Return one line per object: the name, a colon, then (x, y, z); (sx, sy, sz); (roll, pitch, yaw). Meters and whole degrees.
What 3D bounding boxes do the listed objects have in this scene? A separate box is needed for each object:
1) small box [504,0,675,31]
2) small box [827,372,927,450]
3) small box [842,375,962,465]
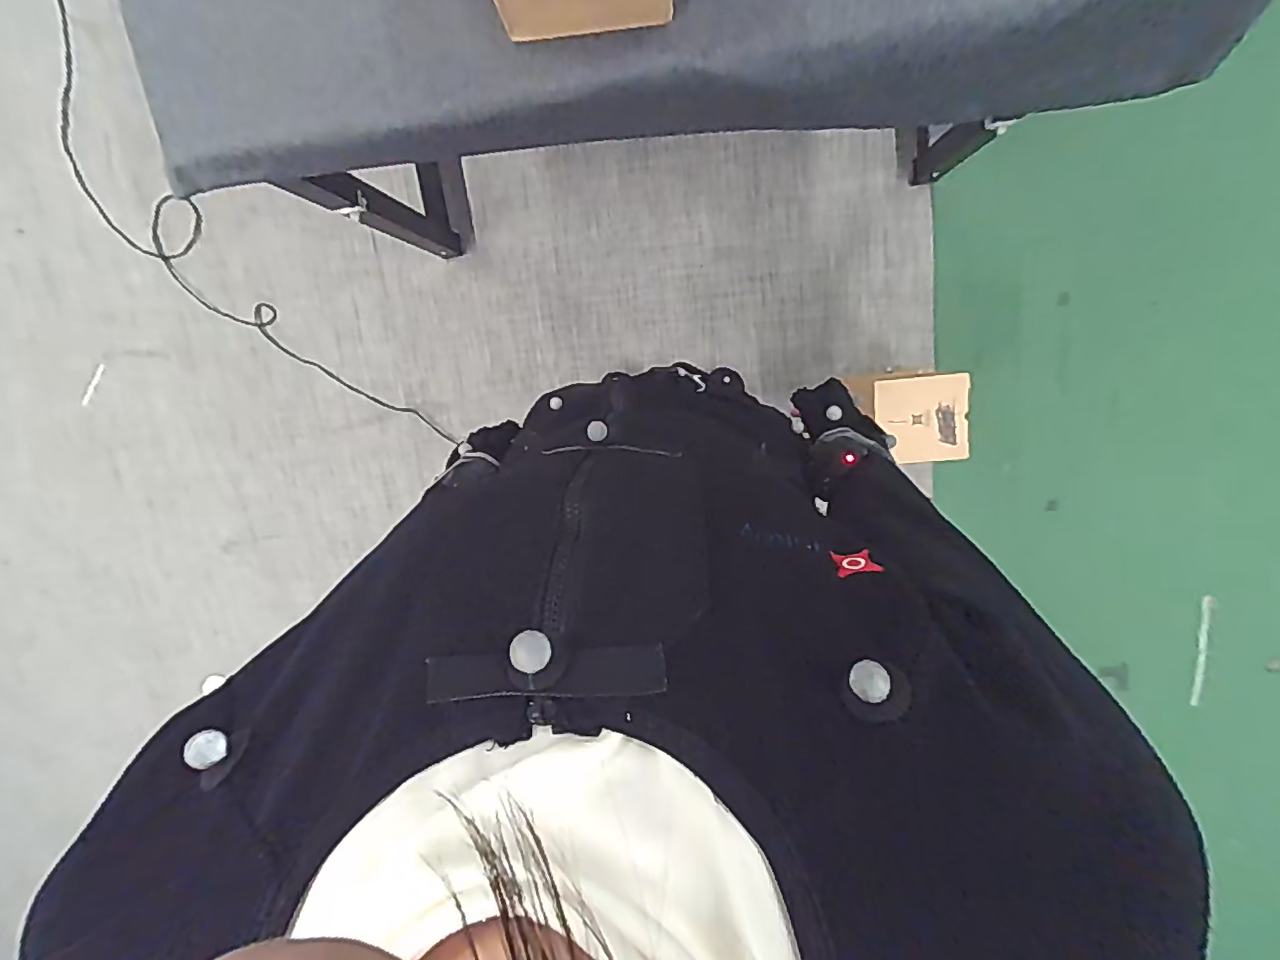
small box: (-0.060, -0.550, 0.489); (0.179, 0.176, 0.168); (-2, 101, 5)
small box: (0.555, -0.164, 1.276); (0.179, 0.176, 0.168); (-6, 100, 7)
small box: (0.532, -0.128, 1.117); (0.179, 0.176, 0.168); (-3, 100, 6)
